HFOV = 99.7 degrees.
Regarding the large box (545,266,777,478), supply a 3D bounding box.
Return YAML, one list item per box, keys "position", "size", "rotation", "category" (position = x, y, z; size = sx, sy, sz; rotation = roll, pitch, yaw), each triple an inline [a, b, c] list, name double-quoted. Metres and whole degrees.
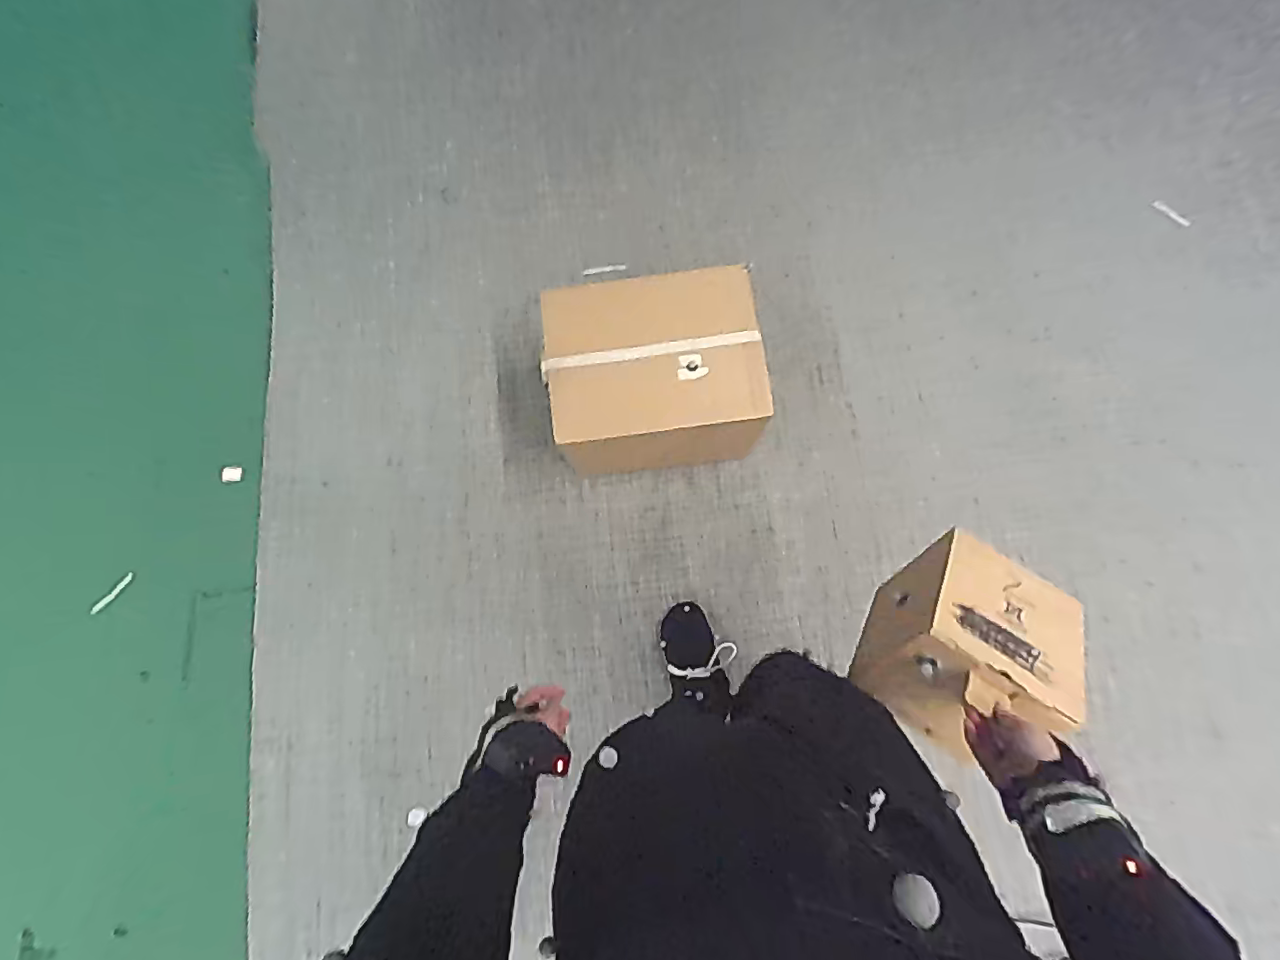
- position: [0.036, -0.206, 1.150]
  size: [0.408, 0.320, 0.320]
  rotation: [-7, 79, 0]
  category: "large box"
